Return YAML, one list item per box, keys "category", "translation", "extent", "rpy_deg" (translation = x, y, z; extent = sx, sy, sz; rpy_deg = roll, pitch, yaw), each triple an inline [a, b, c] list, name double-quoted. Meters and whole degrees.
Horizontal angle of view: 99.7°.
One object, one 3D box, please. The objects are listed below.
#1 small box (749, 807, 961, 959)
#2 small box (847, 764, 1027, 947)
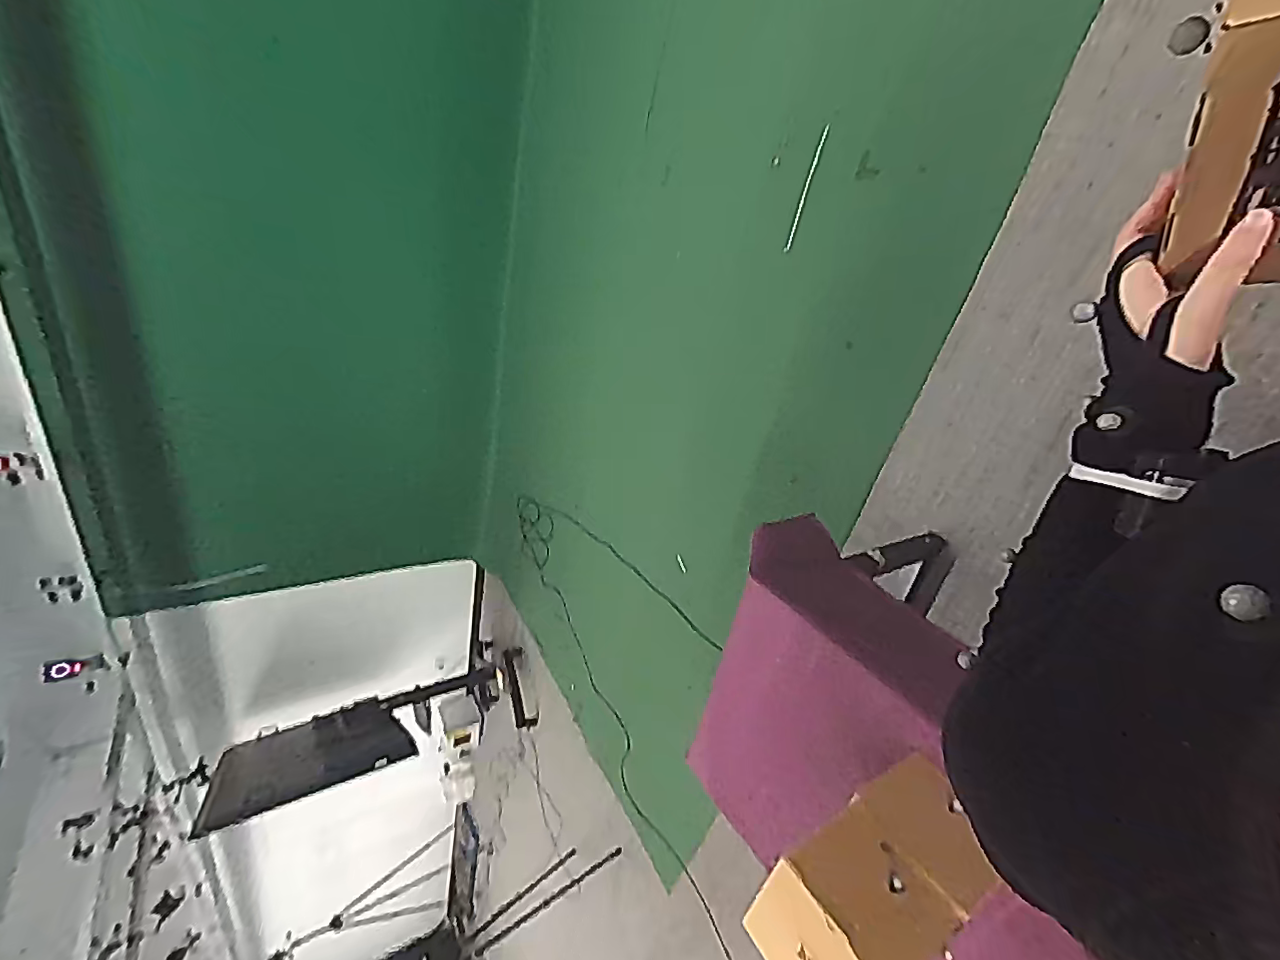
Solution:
- category: "small box"
  translation: [0.280, 0.582, 0.712]
  extent: [0.168, 0.176, 0.179]
  rpy_deg: [42, 127, 43]
- category: "small box"
  translation: [0.415, 0.555, 0.800]
  extent: [0.179, 0.176, 0.168]
  rpy_deg: [42, 129, 45]
